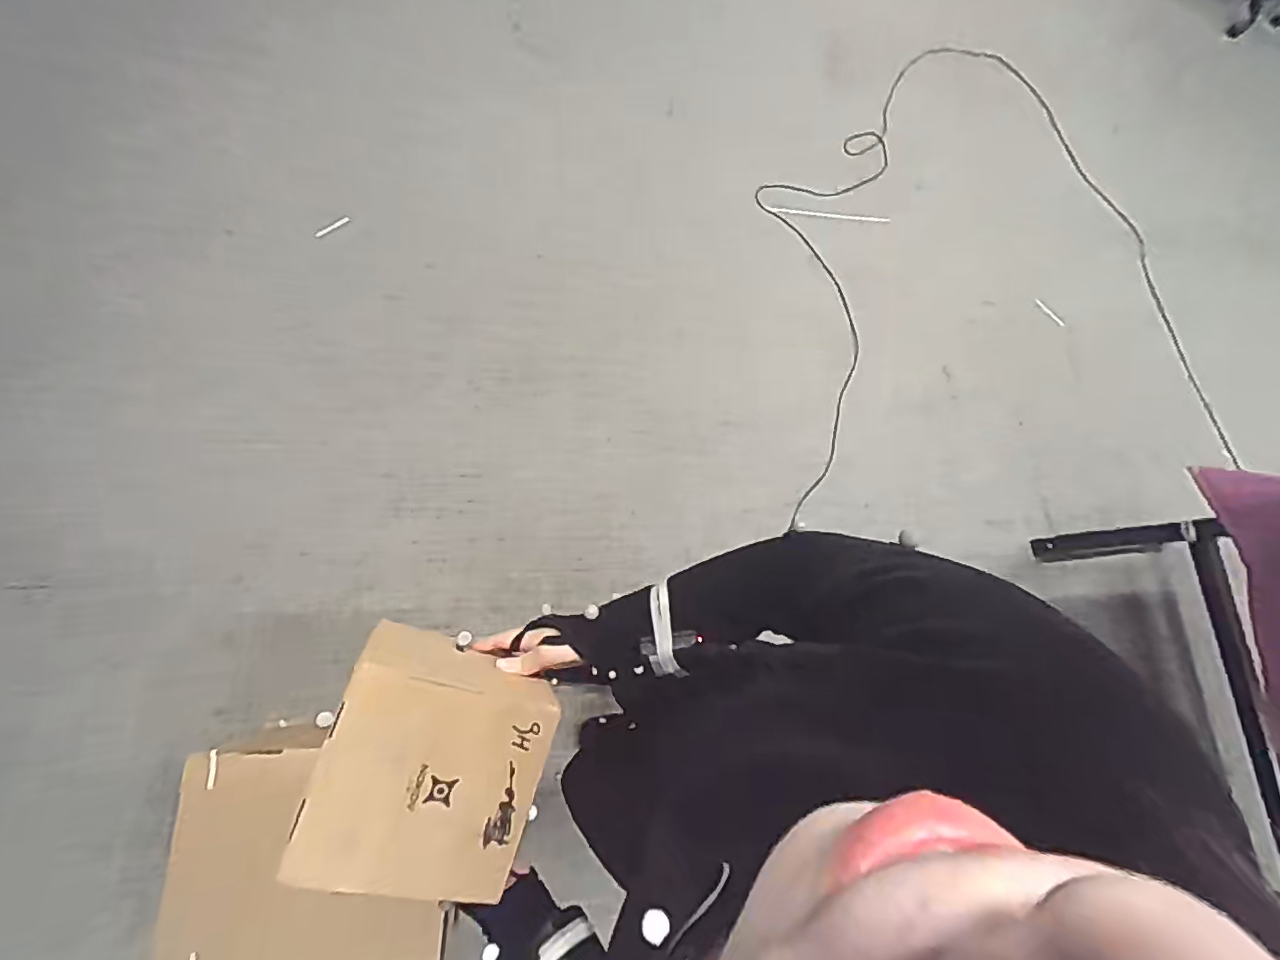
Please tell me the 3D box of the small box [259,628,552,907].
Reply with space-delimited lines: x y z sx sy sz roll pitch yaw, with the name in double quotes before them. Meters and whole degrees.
"small box" -0.204 0.249 0.508 0.179 0.176 0.168 21 80 -17
